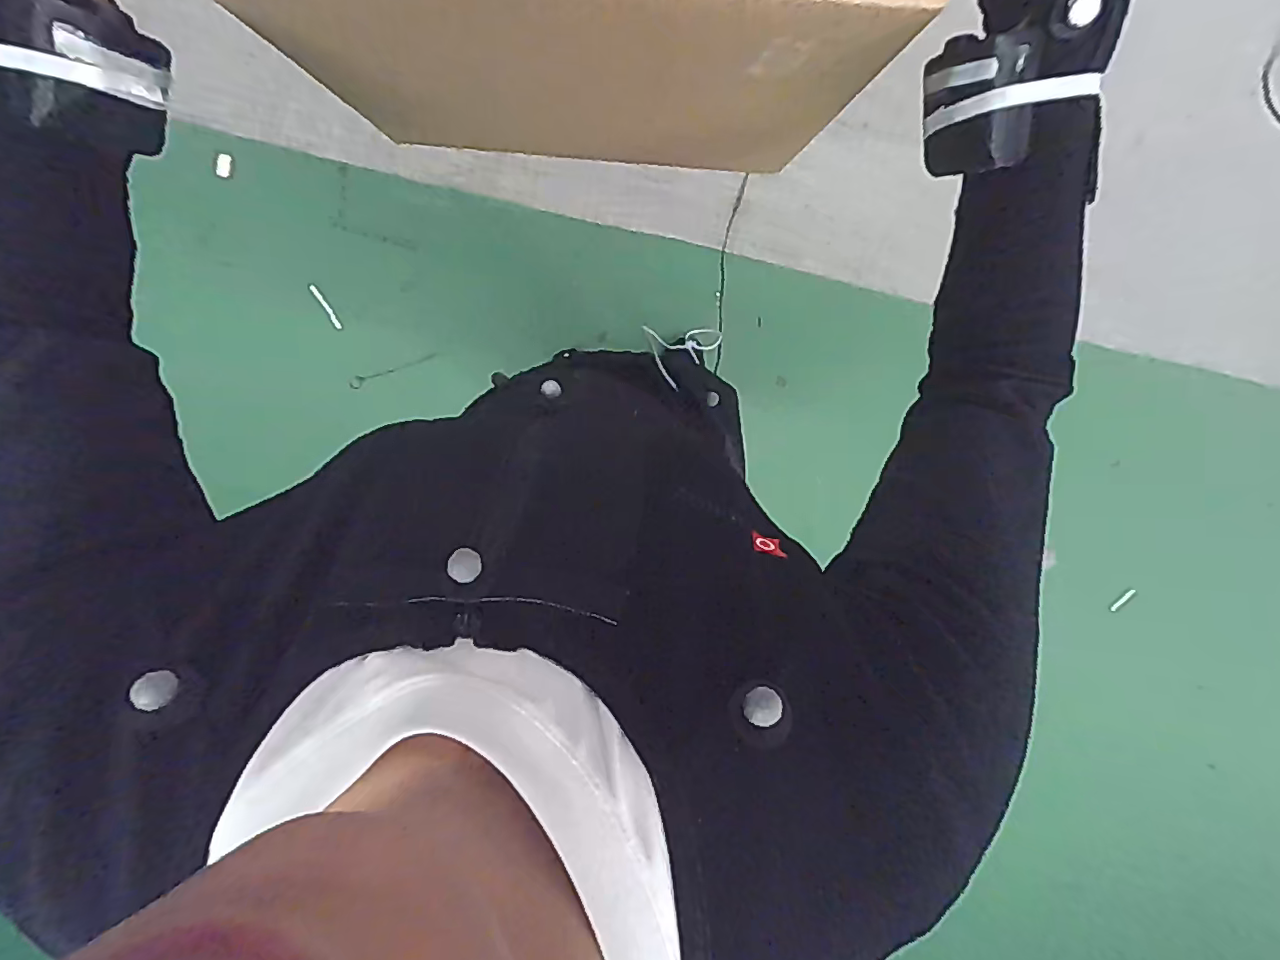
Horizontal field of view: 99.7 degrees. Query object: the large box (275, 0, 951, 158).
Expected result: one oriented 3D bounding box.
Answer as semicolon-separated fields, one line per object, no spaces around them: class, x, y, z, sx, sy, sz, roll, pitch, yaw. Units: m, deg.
large box;-0.025;-0.449;0.377;0.408;0.320;0.320;3;107;-3
